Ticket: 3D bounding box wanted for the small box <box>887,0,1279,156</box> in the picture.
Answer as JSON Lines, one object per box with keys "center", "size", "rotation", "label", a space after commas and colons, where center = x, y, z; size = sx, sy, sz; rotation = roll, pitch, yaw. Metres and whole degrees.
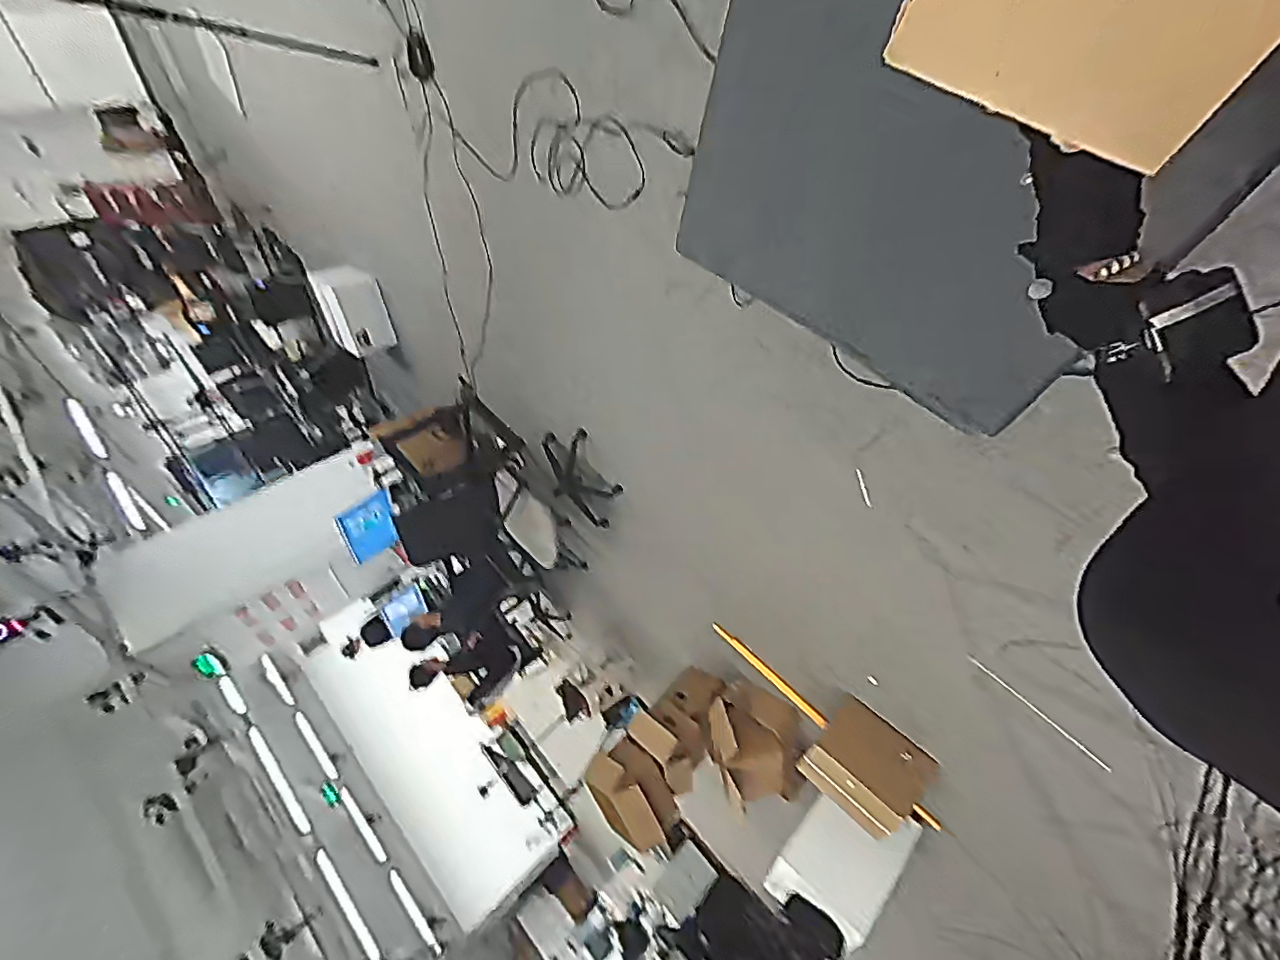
{"center": [0.282, -0.325, 0.300], "size": [0.179, 0.176, 0.168], "rotation": [34, 149, 11], "label": "small box"}
